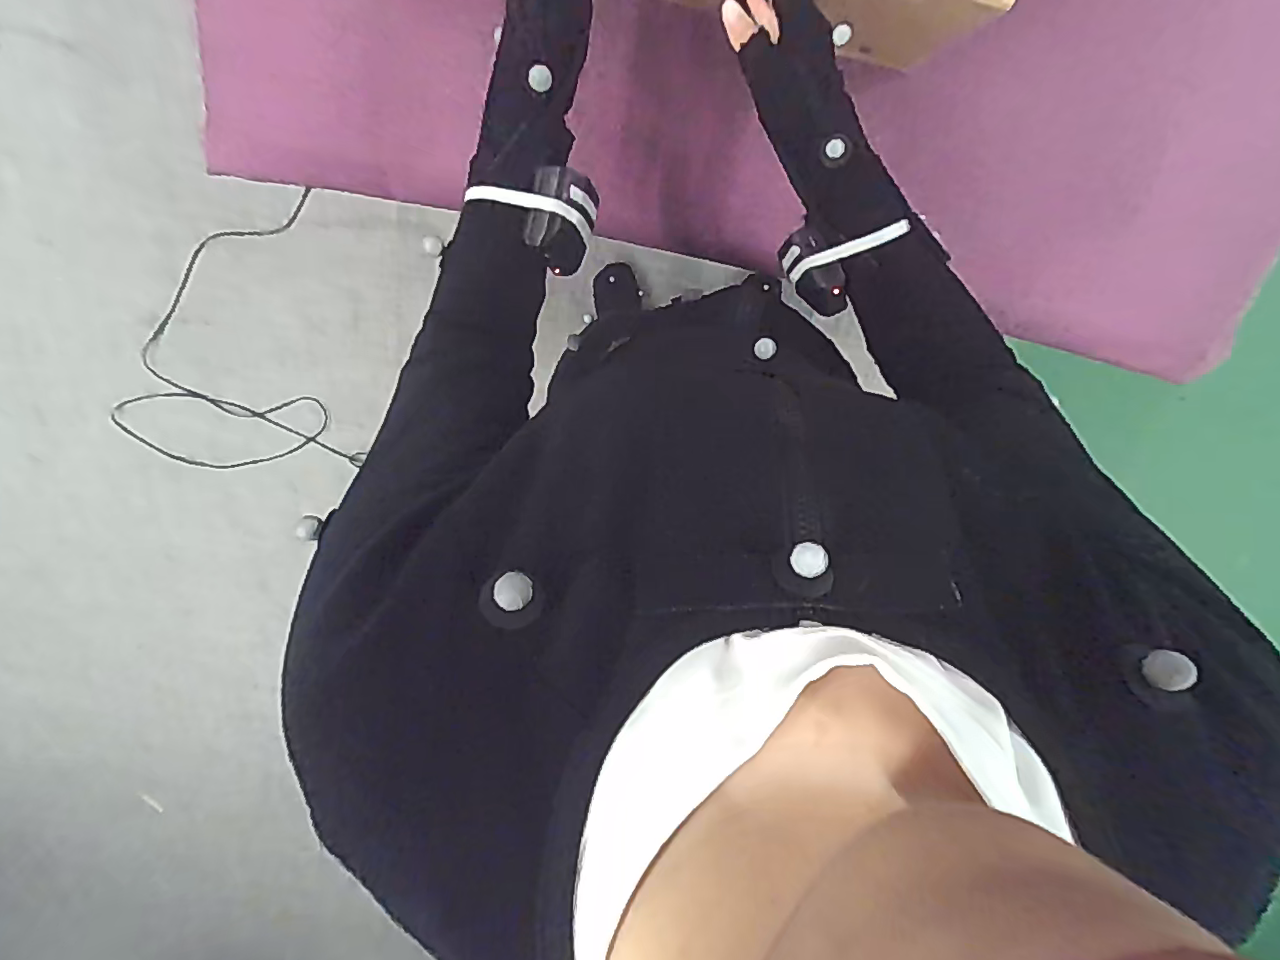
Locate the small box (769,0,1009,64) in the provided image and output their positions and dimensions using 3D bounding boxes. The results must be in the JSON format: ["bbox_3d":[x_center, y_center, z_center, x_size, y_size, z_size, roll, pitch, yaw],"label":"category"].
[{"bbox_3d":[0.222,-0.491,0.450,0.168,0.176,0.179,11,114,-5],"label":"small box"}]
